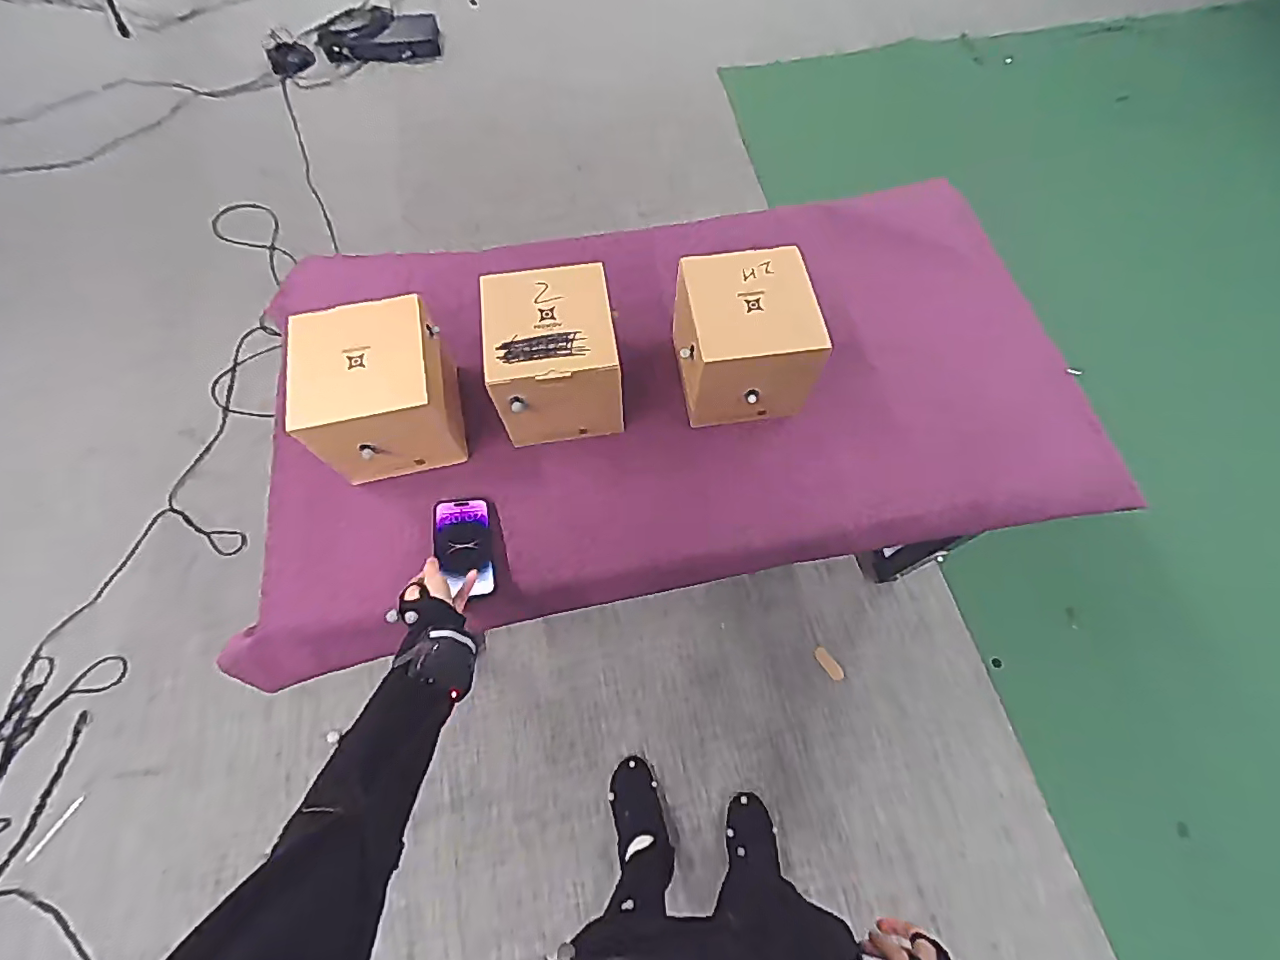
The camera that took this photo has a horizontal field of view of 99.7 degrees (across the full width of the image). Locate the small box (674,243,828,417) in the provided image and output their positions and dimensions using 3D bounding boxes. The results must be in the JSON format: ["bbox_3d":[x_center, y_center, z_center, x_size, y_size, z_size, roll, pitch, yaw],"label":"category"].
[{"bbox_3d":[0.144,-0.203,0.772,0.168,0.176,0.179,-7,66,-4],"label":"small box"}]

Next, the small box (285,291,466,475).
[{"bbox_3d":[-0.348,-0.120,0.736,0.168,0.176,0.179,-13,66,-5],"label":"small box"}]
